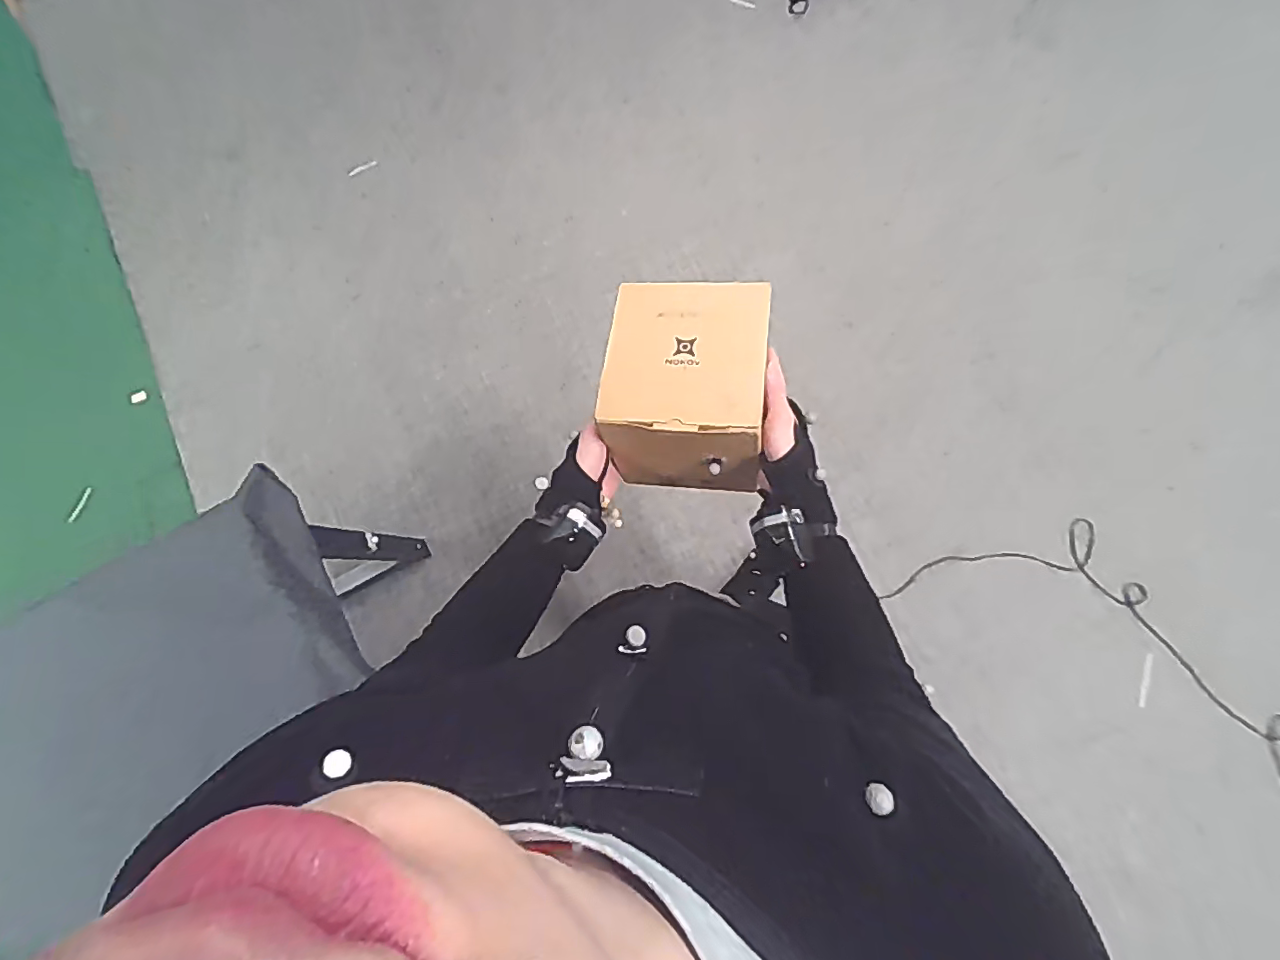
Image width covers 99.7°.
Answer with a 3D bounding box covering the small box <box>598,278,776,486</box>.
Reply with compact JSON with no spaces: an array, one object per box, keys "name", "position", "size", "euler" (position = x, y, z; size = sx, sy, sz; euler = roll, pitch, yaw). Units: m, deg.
[{"name":"small box","position":[0.062,-0.105,0.622],"size":[0.168,0.176,0.179],"euler":[5,67,11]}]
